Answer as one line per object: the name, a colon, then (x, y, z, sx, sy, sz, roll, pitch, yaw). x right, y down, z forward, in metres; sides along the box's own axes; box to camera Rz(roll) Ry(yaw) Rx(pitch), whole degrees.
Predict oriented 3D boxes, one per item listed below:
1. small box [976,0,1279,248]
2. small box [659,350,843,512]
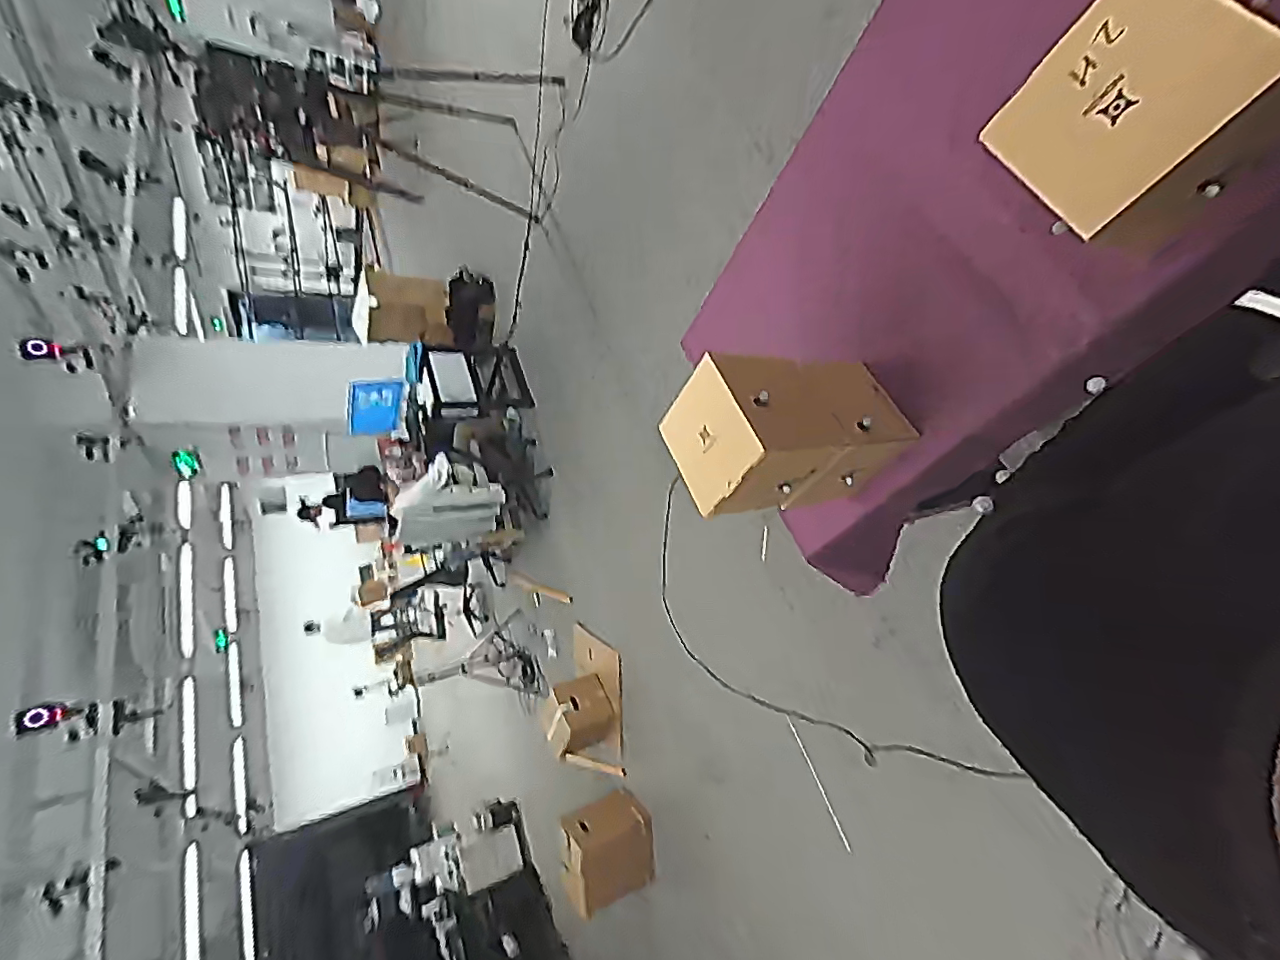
small box: (0.498, -0.356, 0.541, 0.168, 0.176, 0.179, -51, 54, 48)
small box: (0.161, -0.073, 0.812, 0.168, 0.176, 0.179, -55, 51, 46)
